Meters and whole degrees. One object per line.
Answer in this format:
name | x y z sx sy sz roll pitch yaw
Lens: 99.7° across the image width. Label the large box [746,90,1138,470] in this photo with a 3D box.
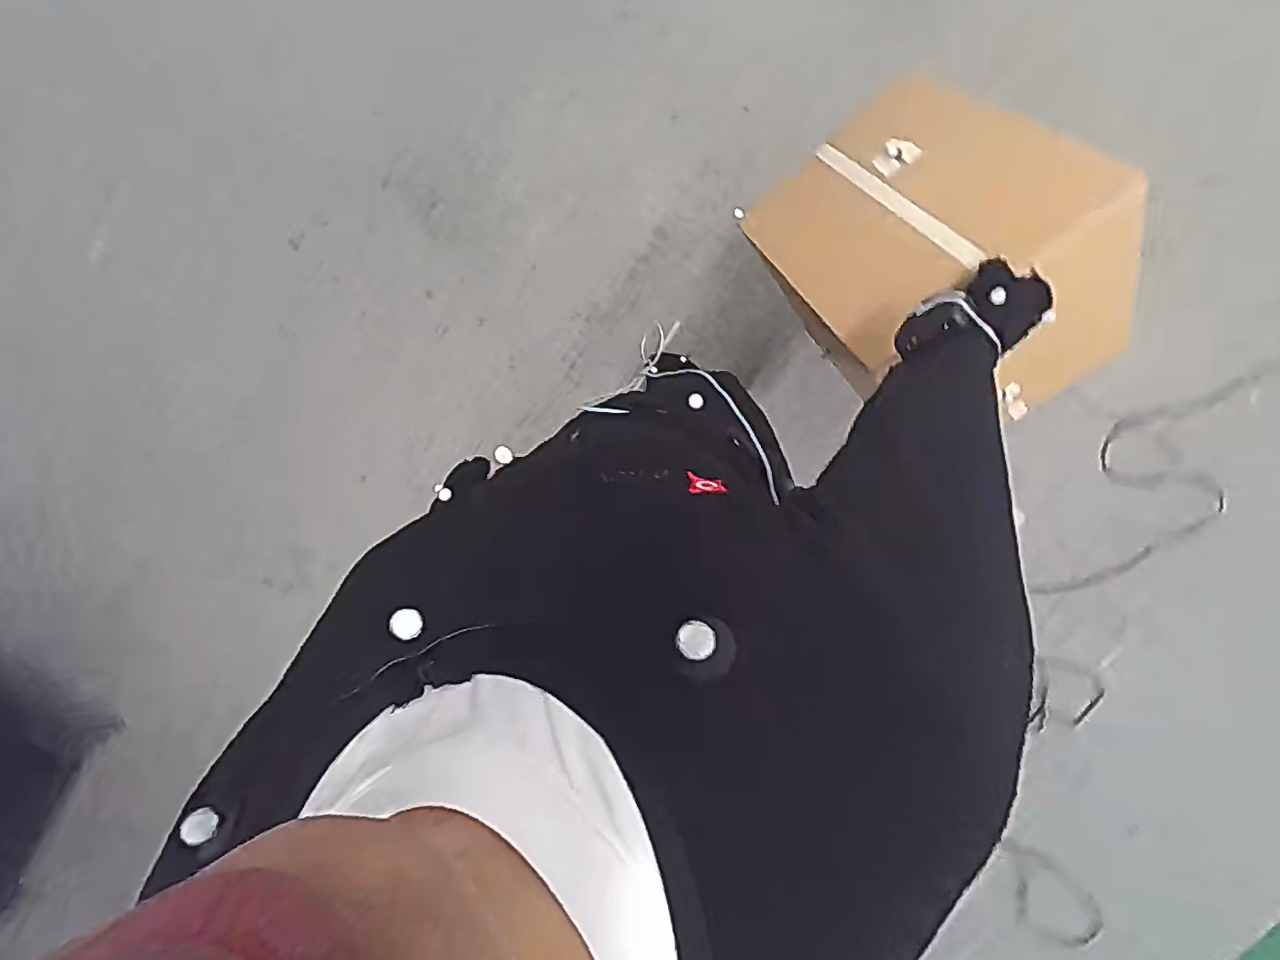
large box | 0.434 -0.293 0.830 0.320 0.408 0.320 -36 139 18
